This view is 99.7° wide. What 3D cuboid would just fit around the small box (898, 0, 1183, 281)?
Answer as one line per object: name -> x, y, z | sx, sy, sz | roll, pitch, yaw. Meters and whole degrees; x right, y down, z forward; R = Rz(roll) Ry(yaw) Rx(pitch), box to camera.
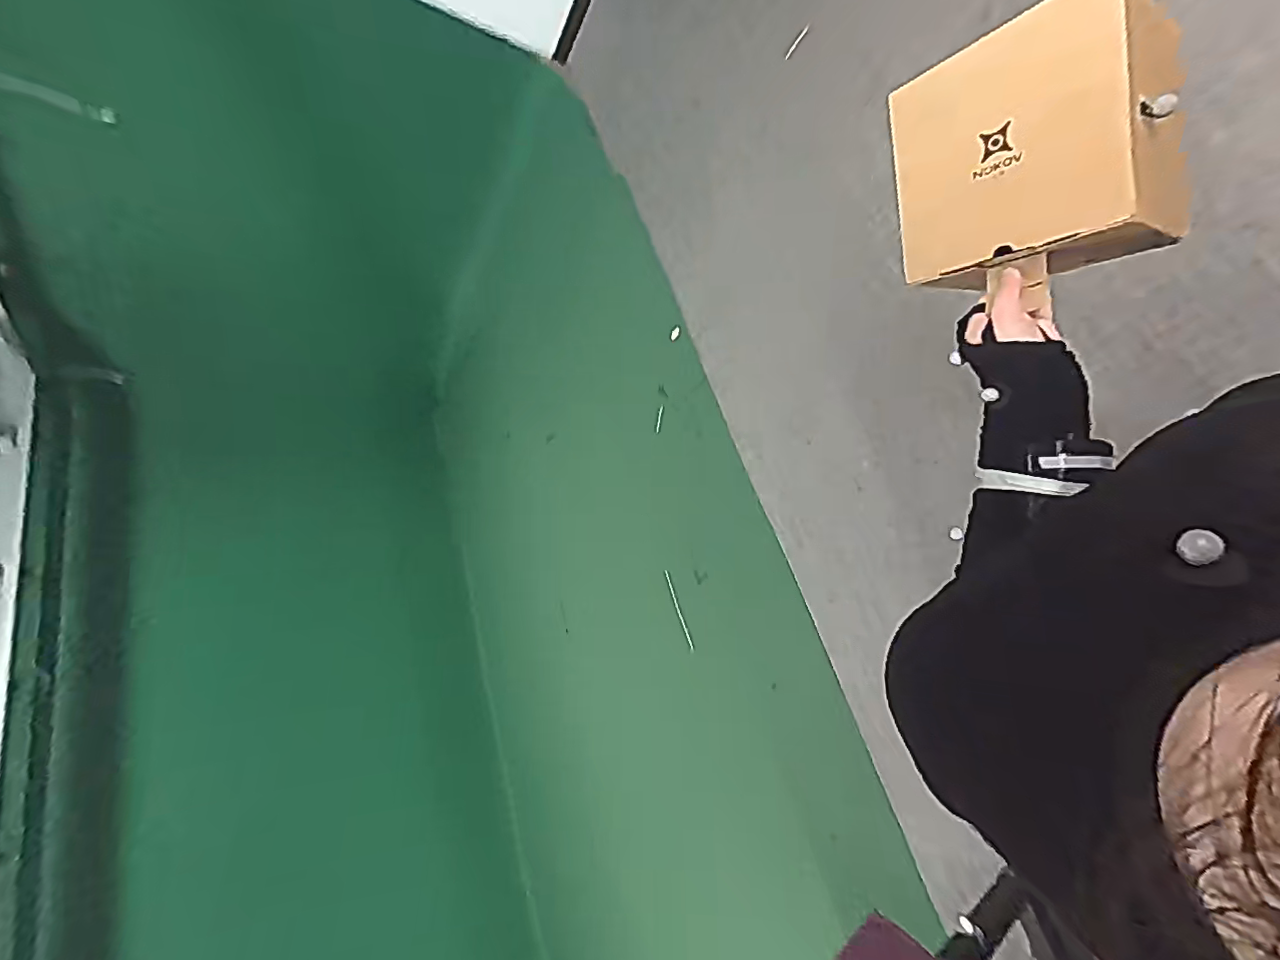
small box -> 0.356, -0.289, 0.485 | 0.168, 0.176, 0.179 | 3, 103, 53
